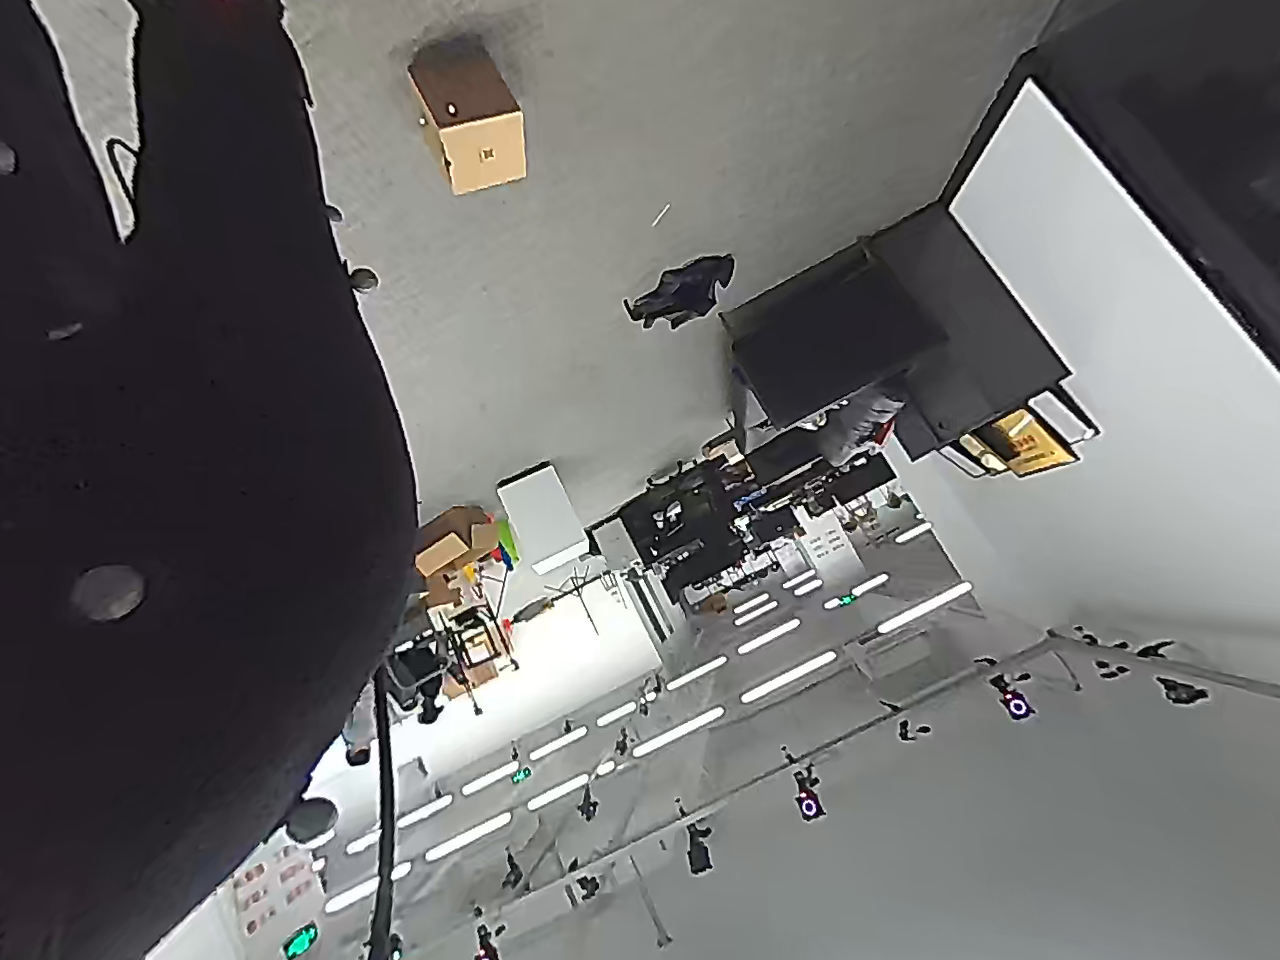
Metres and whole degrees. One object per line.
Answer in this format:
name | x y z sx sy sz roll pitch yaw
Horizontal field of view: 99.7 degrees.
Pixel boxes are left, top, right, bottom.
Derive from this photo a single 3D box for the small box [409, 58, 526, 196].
small box | -0.361 -0.753 1.154 0.179 0.176 0.168 -24 168 -15
